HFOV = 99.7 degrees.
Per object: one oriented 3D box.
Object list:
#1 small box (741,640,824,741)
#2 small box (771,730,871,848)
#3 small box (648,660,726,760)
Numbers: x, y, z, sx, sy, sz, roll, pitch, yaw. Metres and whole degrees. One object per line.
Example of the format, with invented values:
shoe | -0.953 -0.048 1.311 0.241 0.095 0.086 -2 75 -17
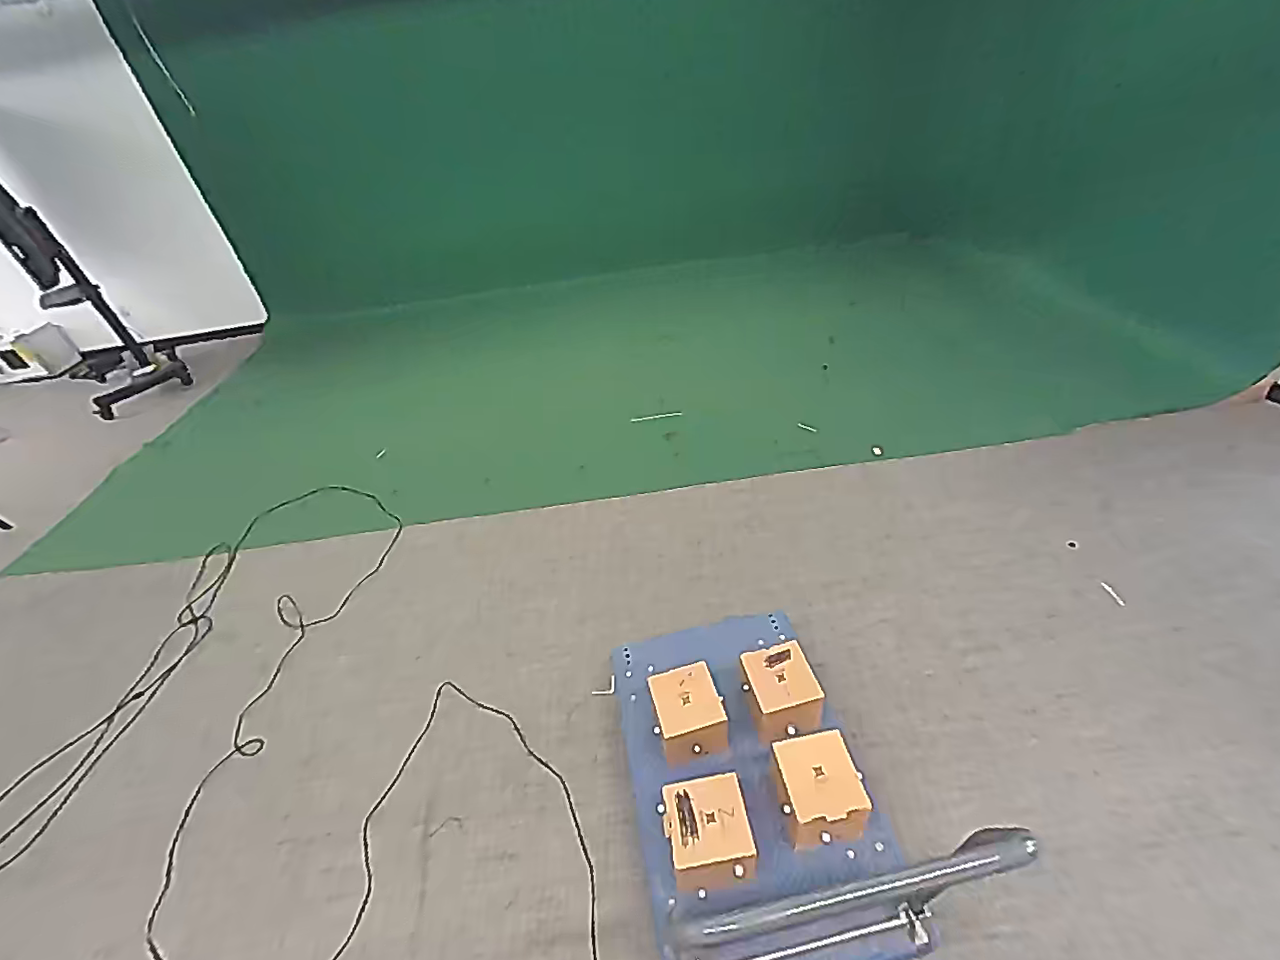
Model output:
small box | 0.376 0.567 1.459 0.168 0.176 0.179 -13 40 -4
small box | 0.413 0.724 1.269 0.168 0.176 0.179 -11 38 -2
small box | 0.126 0.619 1.443 0.168 0.176 0.179 -13 40 -7
